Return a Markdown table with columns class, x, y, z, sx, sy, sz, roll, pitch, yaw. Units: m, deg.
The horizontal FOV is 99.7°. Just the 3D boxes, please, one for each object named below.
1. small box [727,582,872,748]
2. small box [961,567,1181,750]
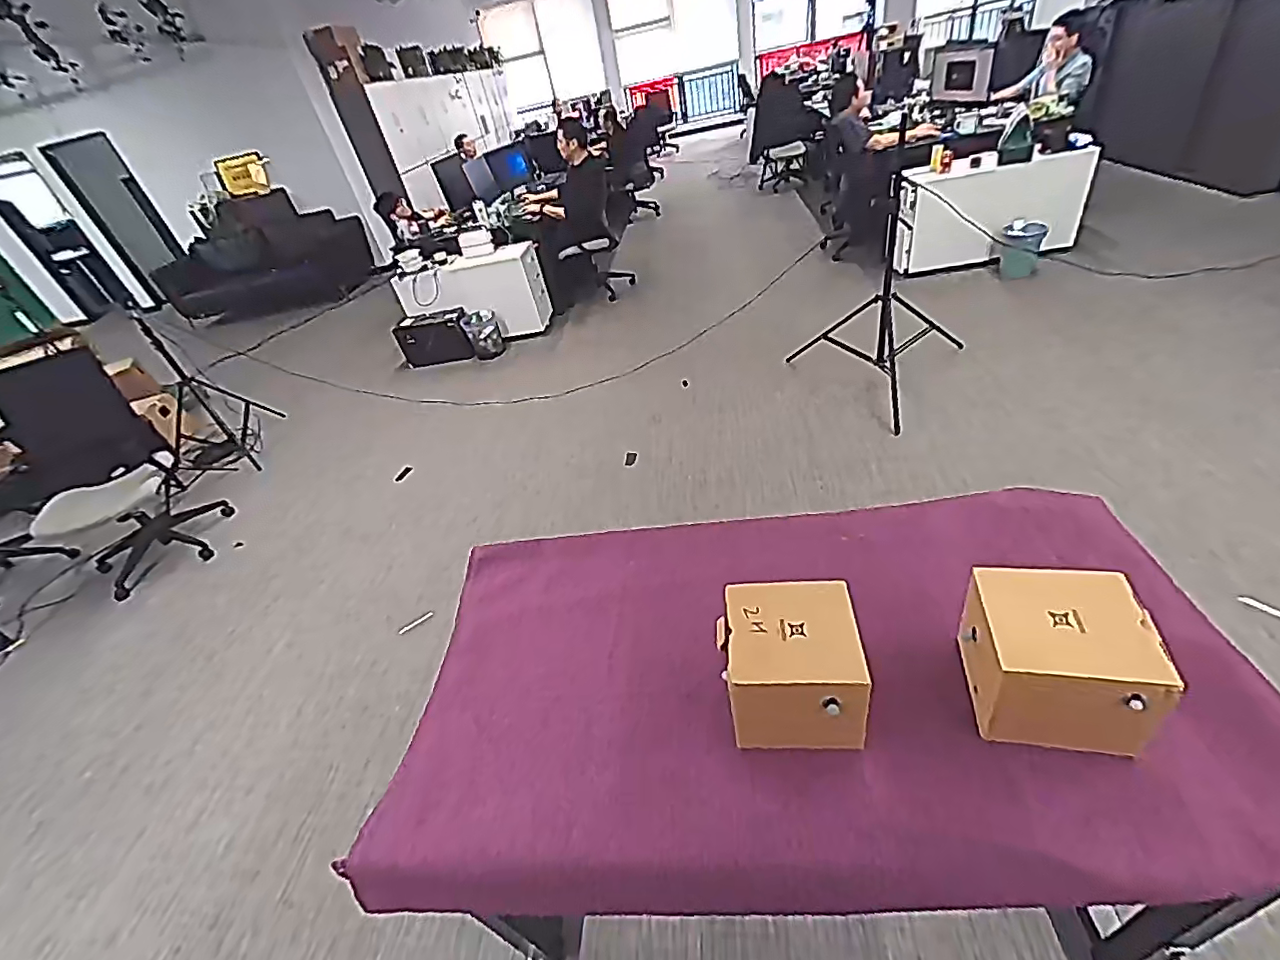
| class | x | y | z | sx | sy | sz | roll | pitch | yaw |
| --- | --- | --- | --- | --- | --- | --- | --- | --- | --- |
| small box | 0.221 | 0.268 | 0.783 | 0.179 | 0.176 | 0.168 | -5 | 37 | 12 |
| small box | 0.544 | 0.235 | 0.720 | 0.179 | 0.176 | 0.168 | -1 | 39 | 17 |
